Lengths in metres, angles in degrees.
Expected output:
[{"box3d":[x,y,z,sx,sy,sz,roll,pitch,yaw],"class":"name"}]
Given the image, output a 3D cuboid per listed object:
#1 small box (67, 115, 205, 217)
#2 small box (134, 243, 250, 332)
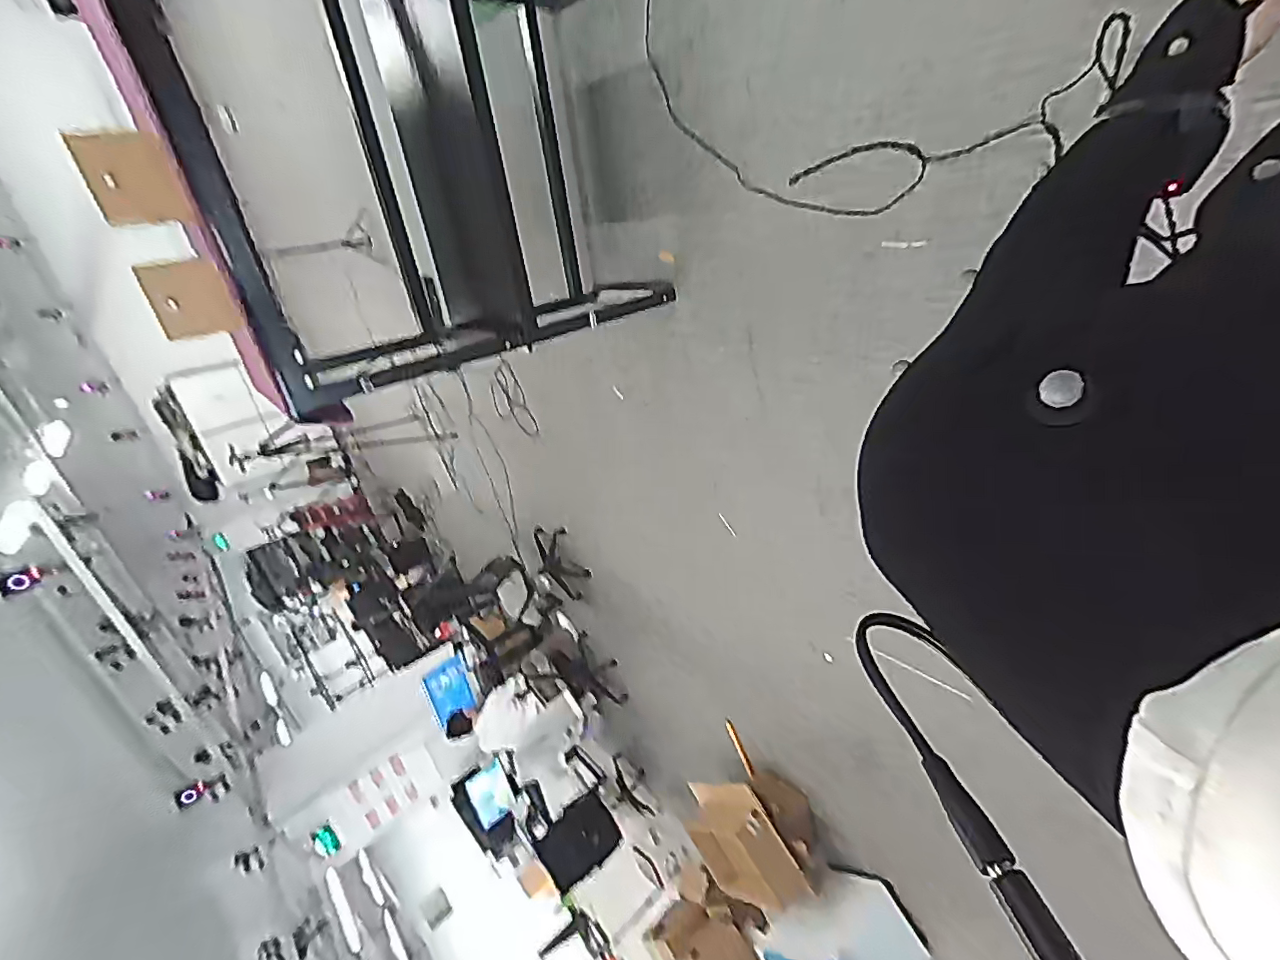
[{"box3d":[-1.123,-0.703,1.217,0.168,0.176,0.179,22,130,47],"class":"small box"},{"box3d":[-1.095,-0.477,1.330,0.168,0.176,0.179,24,130,44],"class":"small box"}]
